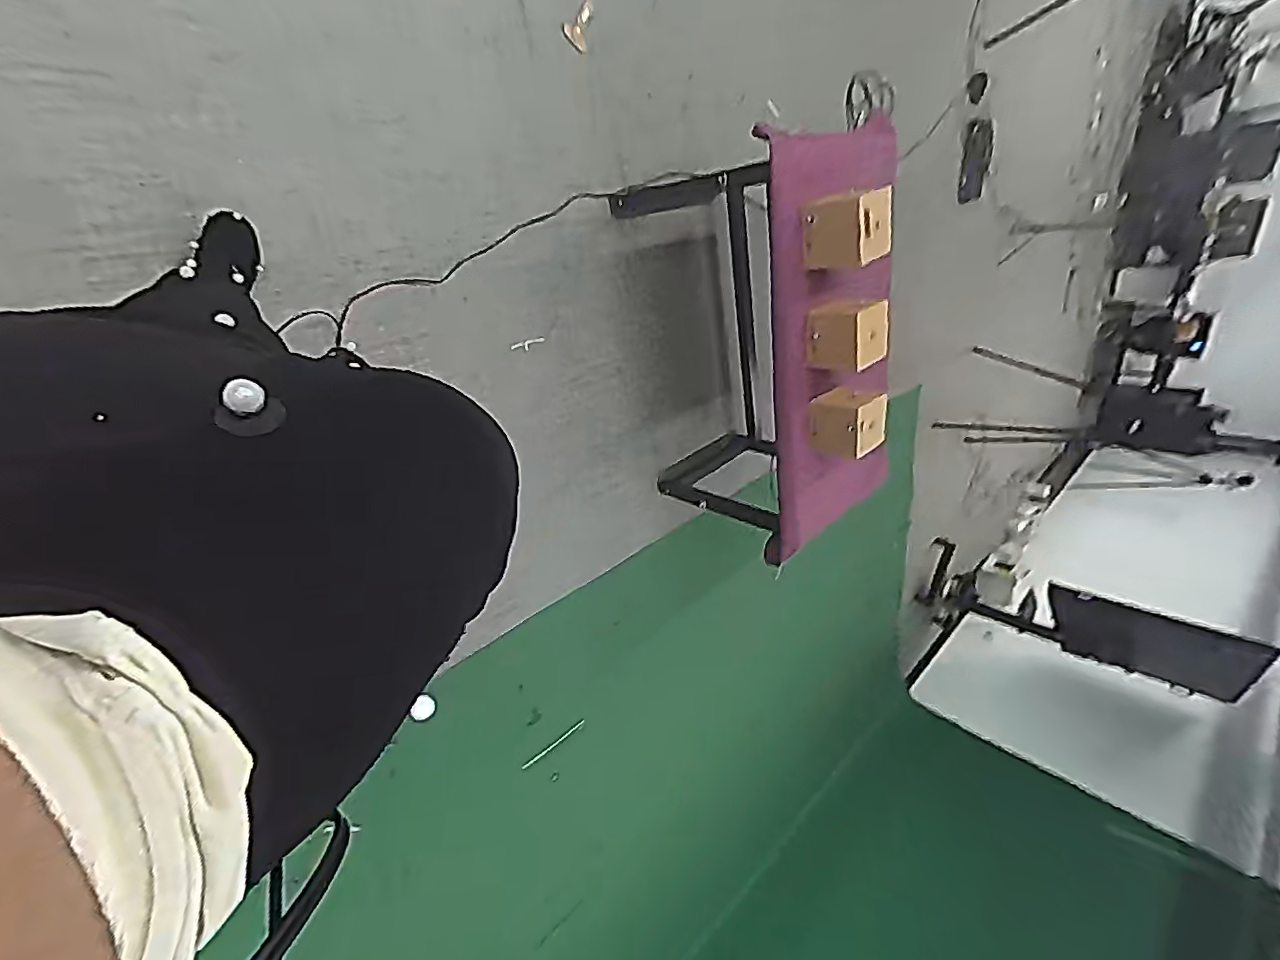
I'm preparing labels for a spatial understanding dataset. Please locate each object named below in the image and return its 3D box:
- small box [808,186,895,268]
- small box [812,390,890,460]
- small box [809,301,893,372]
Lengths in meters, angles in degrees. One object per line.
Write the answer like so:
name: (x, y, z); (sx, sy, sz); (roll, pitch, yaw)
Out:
small box: (0.565, -0.676, 1.454); (0.179, 0.176, 0.168); (-32, 123, -33)
small box: (0.662, -0.180, 1.703); (0.179, 0.176, 0.168); (-26, 119, -34)
small box: (0.615, -0.425, 1.584); (0.179, 0.176, 0.168); (-27, 120, -32)
